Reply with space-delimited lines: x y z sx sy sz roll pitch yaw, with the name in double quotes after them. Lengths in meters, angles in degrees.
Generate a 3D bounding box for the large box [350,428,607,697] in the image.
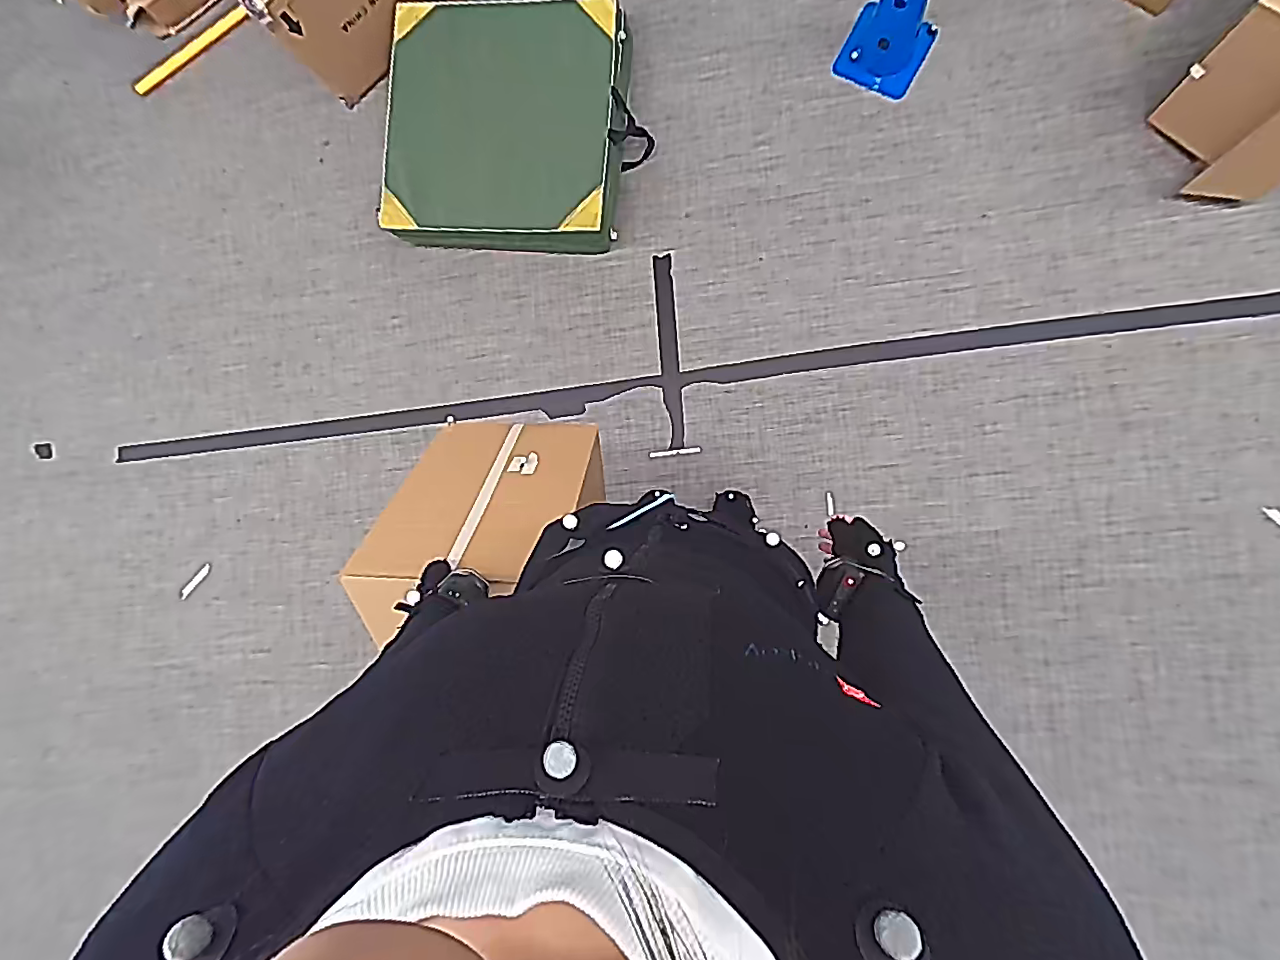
-0.249 0.141 1.012 0.320 0.408 0.320 2 128 6 "large box"
